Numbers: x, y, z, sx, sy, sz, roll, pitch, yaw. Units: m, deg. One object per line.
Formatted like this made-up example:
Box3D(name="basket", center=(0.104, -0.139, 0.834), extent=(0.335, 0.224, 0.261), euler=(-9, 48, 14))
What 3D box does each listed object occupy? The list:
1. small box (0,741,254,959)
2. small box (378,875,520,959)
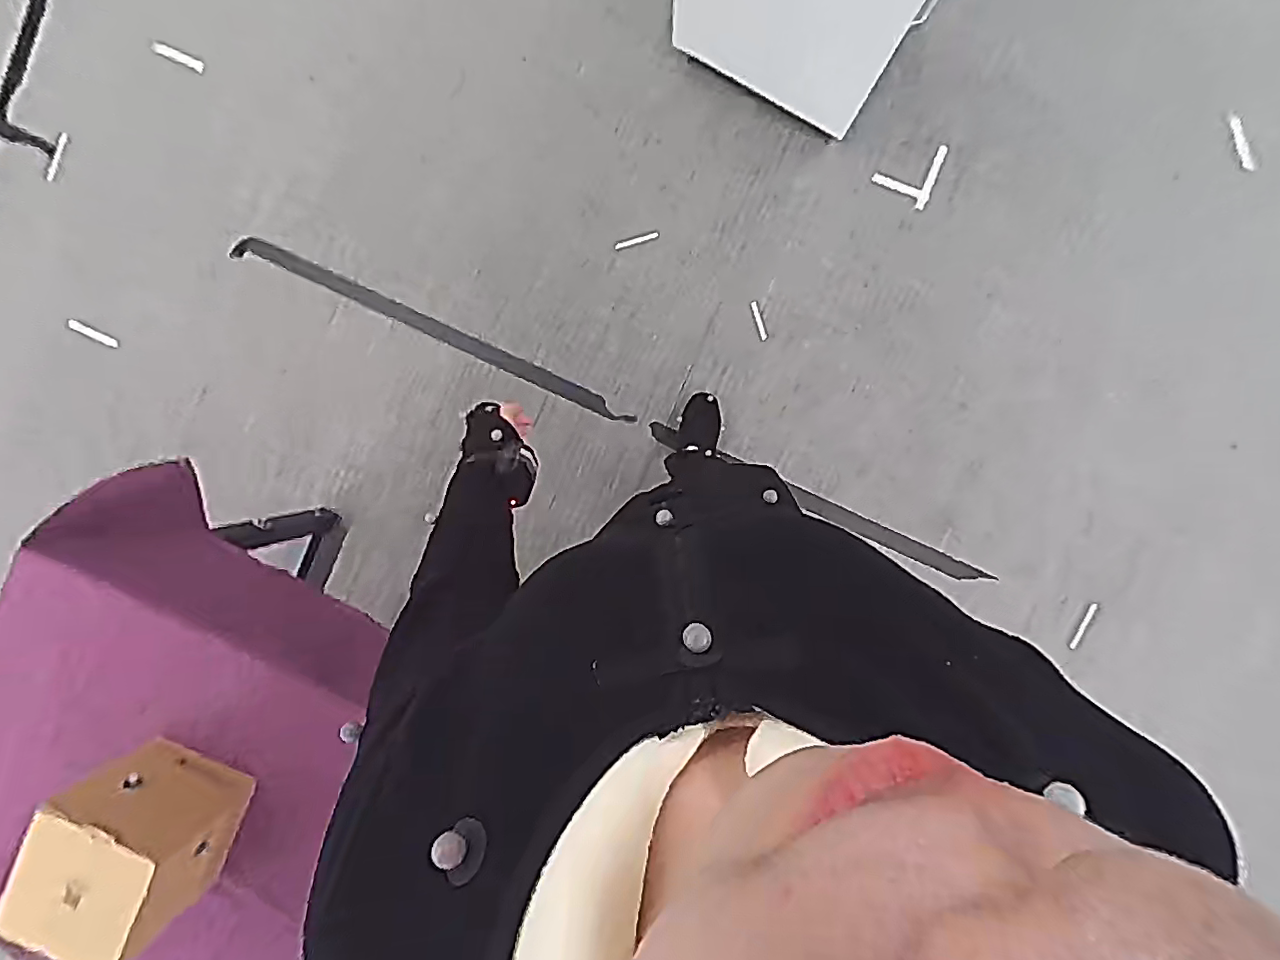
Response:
Box3D(name="small box", center=(-0.682, 0.499, 0.741), extent=(0.168, 0.176, 0.179), euler=(24, 94, 1))
Box3D(name="small box", center=(-0.283, 0.706, 0.741), extent=(0.168, 0.176, 0.179), euler=(23, 93, 1))
